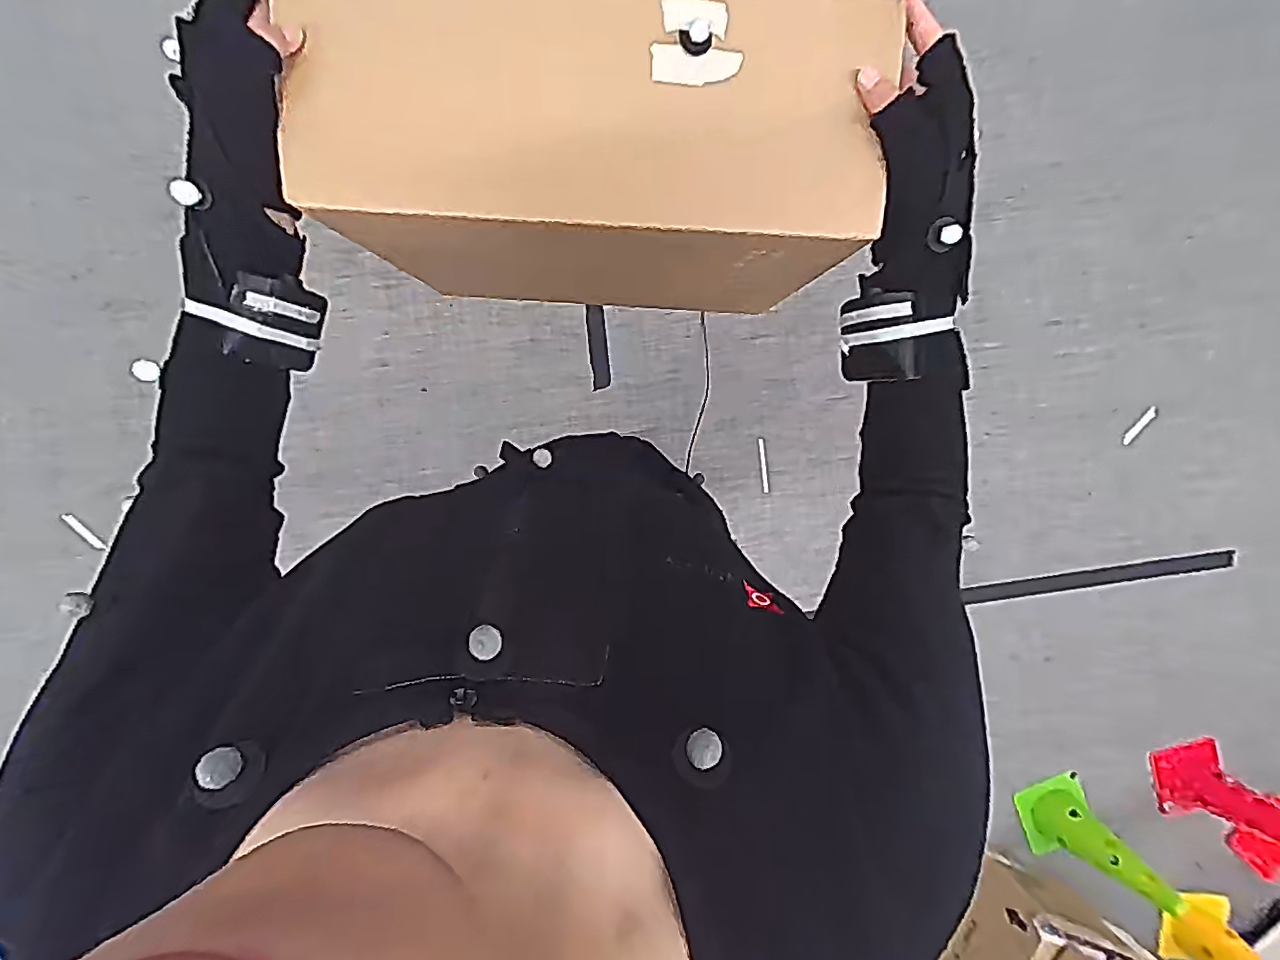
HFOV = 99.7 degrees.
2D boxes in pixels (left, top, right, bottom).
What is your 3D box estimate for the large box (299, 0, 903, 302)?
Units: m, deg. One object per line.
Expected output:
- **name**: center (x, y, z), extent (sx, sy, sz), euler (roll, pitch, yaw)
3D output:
- **large box**: center (-0.028, -0.355, 0.500), extent (0.408, 0.320, 0.320), euler (2, 99, -3)
